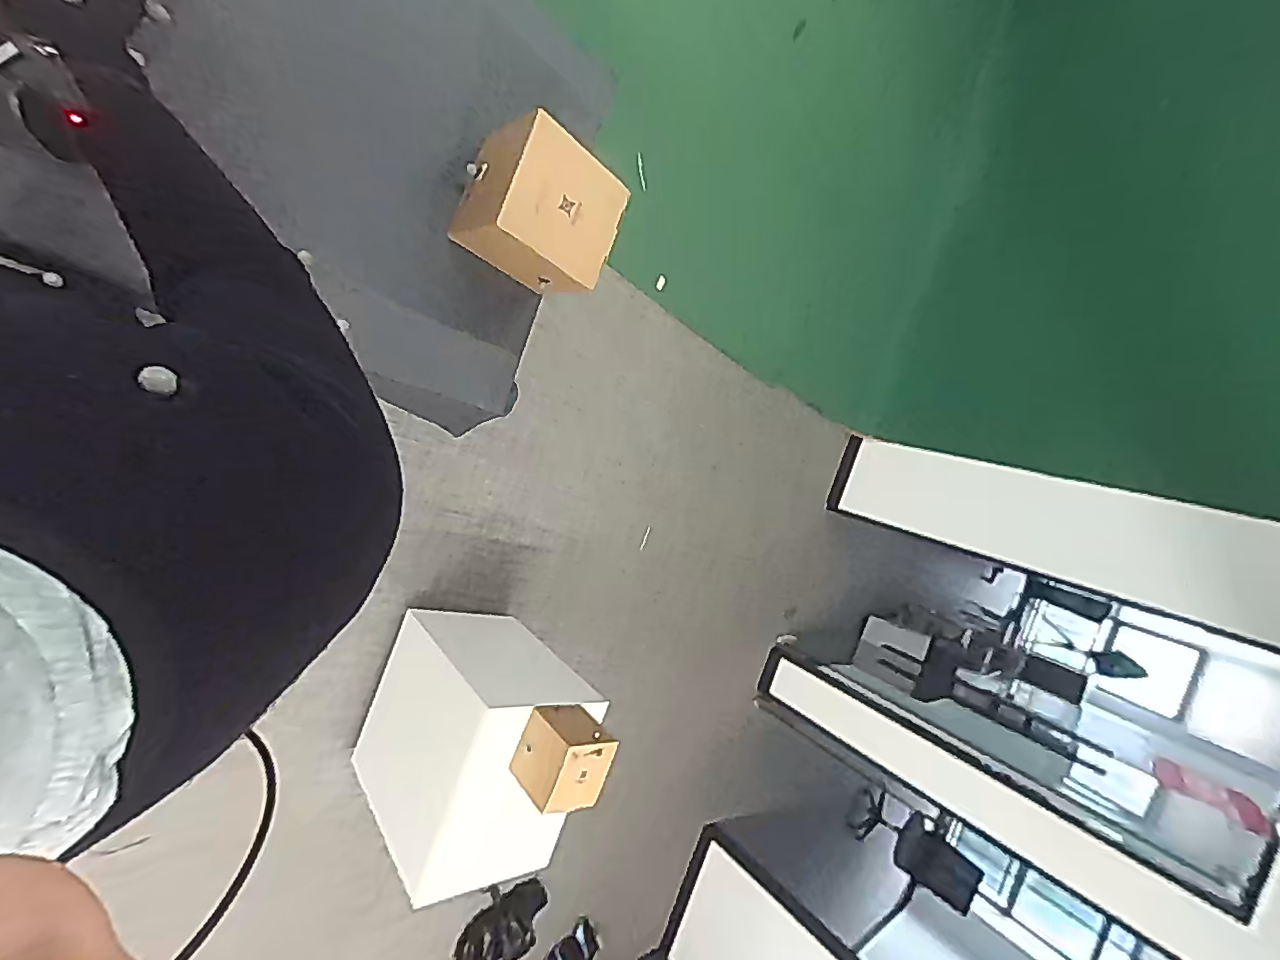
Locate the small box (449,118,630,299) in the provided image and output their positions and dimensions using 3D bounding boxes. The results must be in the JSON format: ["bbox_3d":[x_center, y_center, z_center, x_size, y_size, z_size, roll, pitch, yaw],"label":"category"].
[{"bbox_3d":[-0.152,-0.388,0.807,0.179,0.176,0.168,20,89,-43],"label":"small box"}]

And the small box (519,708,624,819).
[{"bbox_3d":[-0.176,0.693,1.343,0.168,0.176,0.179,21,91,-44],"label":"small box"}]
